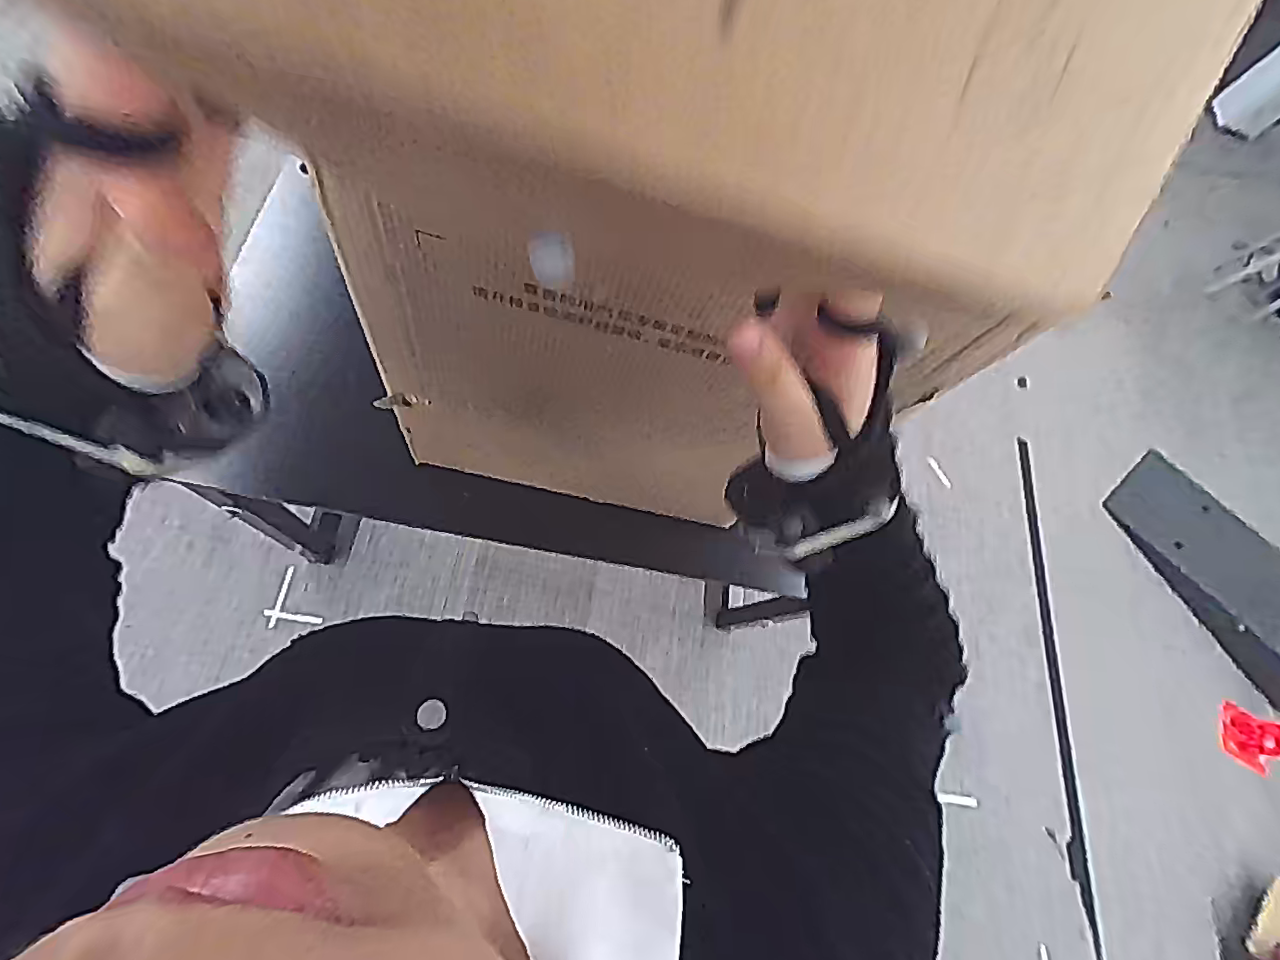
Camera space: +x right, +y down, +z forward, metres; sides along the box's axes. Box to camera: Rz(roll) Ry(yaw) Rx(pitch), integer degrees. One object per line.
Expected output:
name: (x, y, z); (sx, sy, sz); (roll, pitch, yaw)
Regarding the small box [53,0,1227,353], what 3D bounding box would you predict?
small box: (0.008, -0.146, 0.132); (0.168, 0.176, 0.179); (8, 109, -19)
